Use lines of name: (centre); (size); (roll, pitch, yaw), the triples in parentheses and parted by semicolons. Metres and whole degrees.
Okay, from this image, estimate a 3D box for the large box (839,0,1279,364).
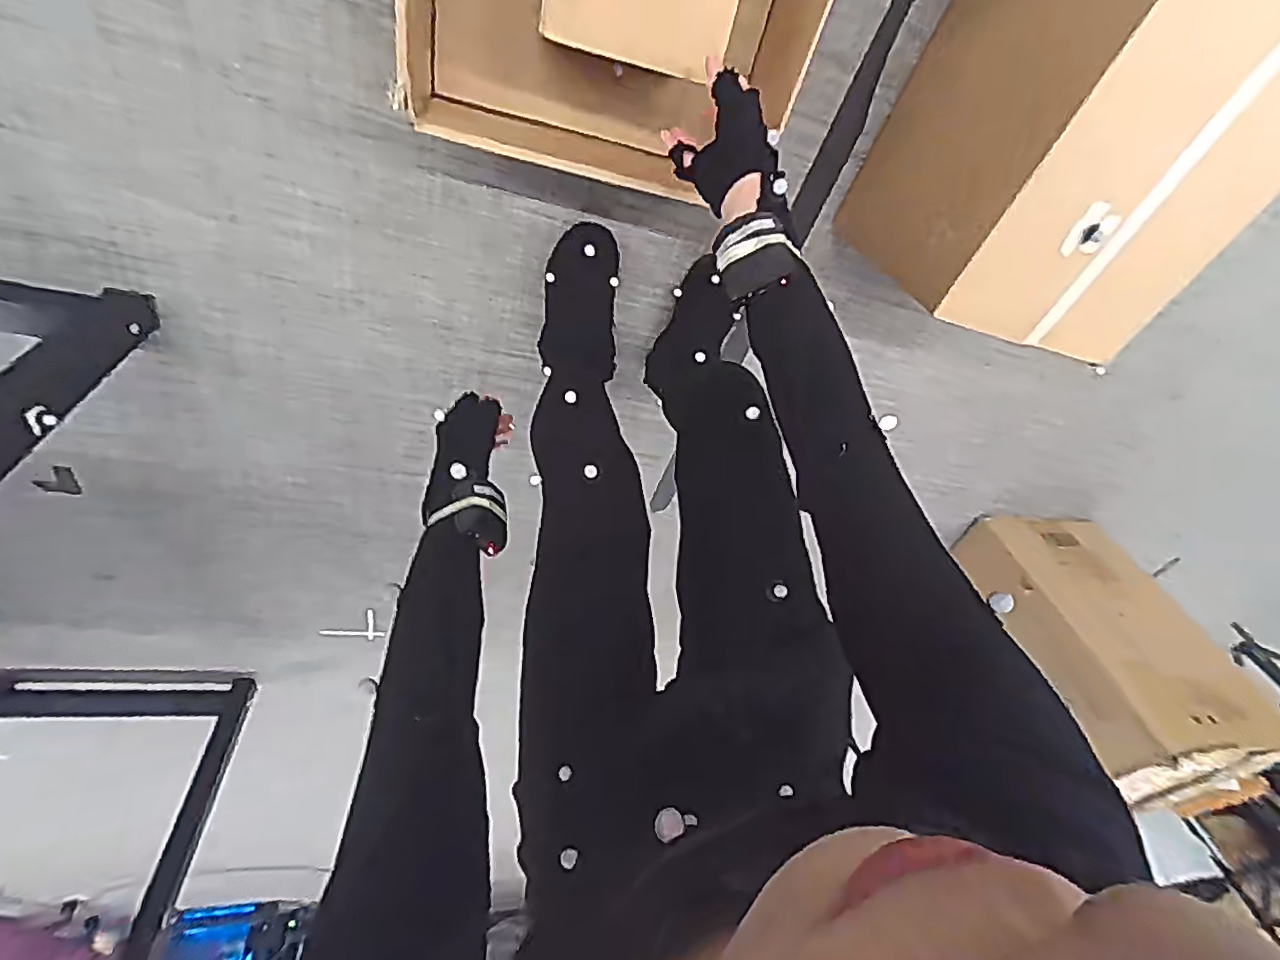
large box: (0.532, -0.421, 0.677); (0.320, 0.320, 0.408); (8, 132, -18)
